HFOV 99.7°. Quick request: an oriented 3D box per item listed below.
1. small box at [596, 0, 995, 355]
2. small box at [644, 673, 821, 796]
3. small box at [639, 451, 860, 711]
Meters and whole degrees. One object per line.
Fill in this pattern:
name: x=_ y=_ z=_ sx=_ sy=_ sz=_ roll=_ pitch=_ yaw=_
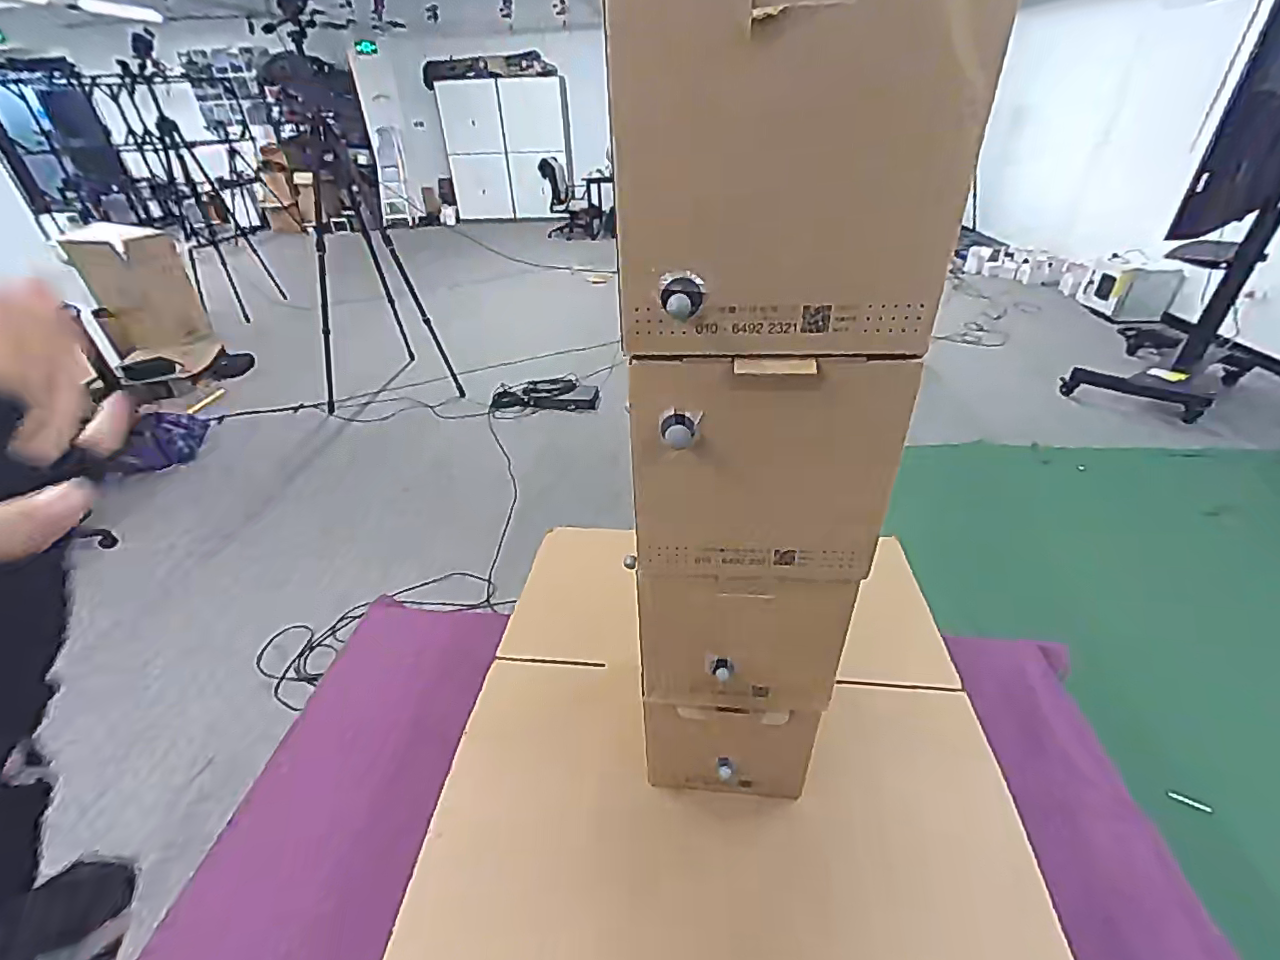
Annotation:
small box: x=0.074 y=-0.180 z=0.322 sx=0.168 sy=0.176 sz=0.179 roll=1 pitch=33 yaw=5
small box: x=0.097 y=0.219 z=0.611 sx=0.168 sy=0.176 sz=0.179 roll=1 pitch=34 yaw=7
small box: x=0.089 y=0.088 z=0.513 sx=0.168 sy=0.176 sz=0.179 roll=1 pitch=35 yaw=5
